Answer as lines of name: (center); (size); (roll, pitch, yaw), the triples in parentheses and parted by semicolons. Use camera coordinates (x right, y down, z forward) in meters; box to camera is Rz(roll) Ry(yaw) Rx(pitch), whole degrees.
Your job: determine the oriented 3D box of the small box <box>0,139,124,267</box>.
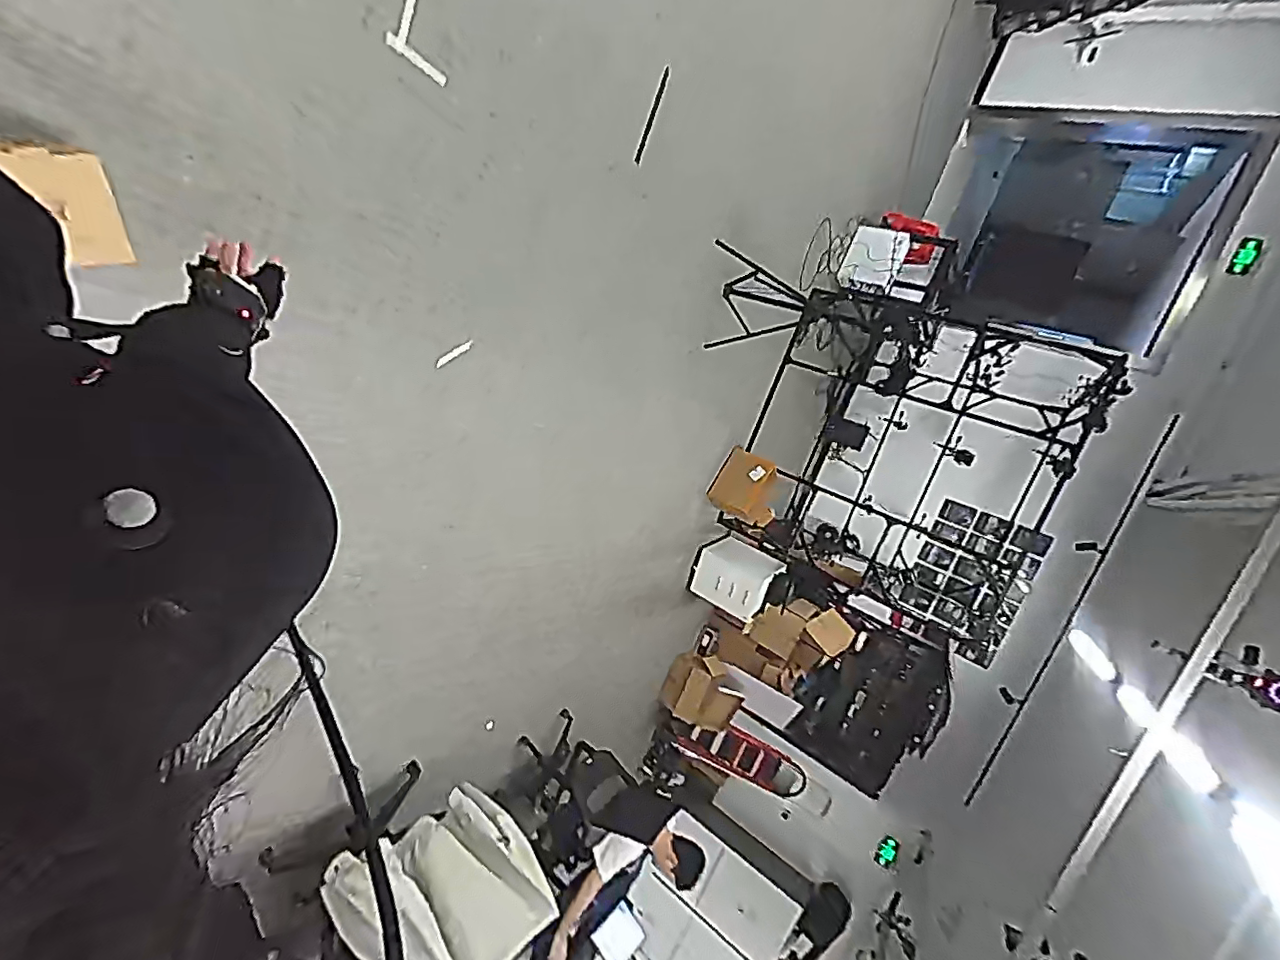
small box: (-1.044, -0.476, 0.923); (0.168, 0.176, 0.179); (-30, 138, -44)
